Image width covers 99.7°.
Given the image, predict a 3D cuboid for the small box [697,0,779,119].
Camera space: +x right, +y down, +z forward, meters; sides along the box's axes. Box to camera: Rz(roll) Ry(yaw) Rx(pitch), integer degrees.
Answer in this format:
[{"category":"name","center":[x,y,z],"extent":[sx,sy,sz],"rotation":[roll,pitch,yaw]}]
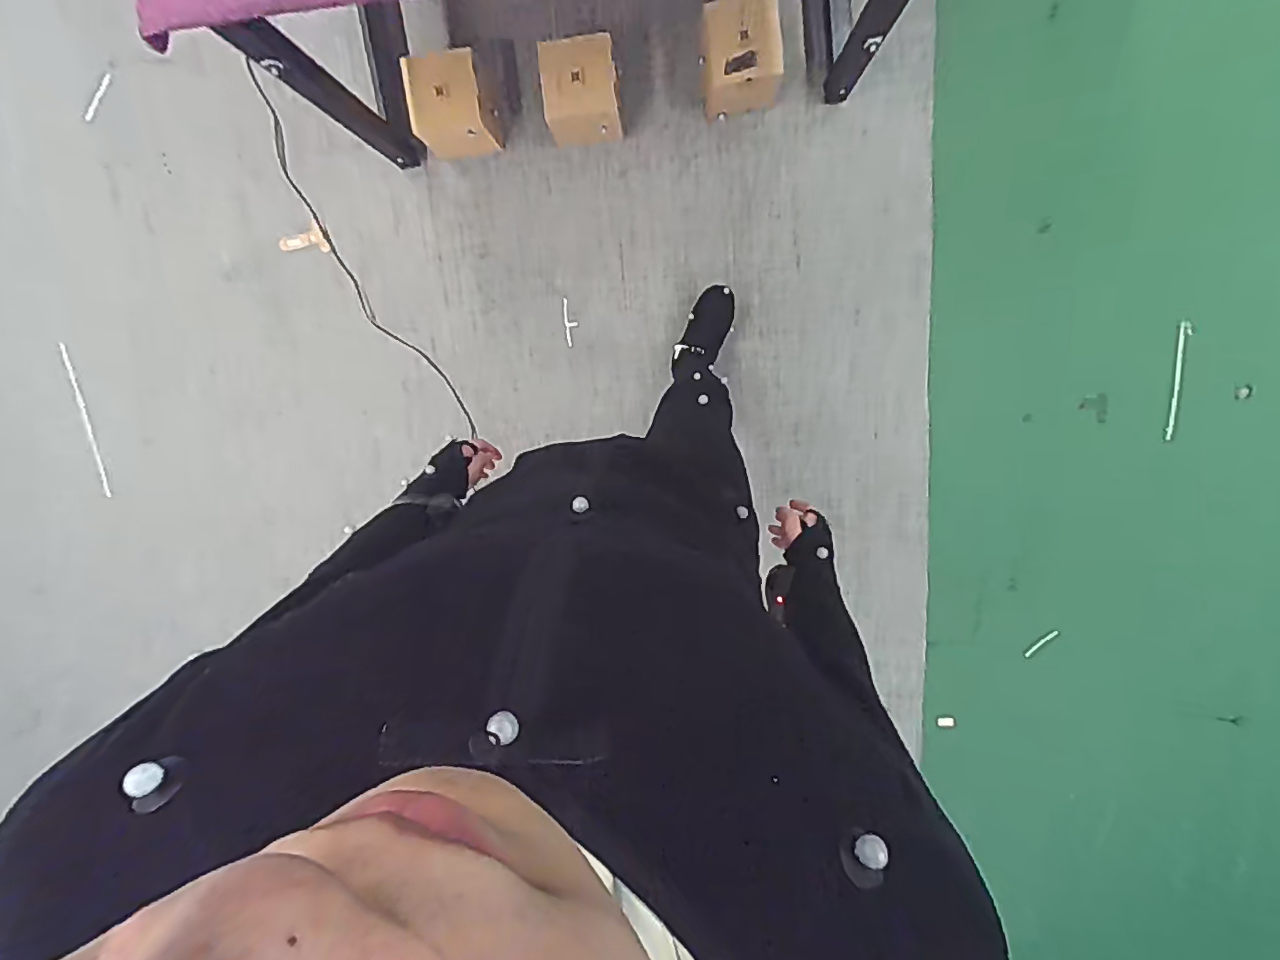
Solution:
[{"category":"small box","center":[0.230,-0.998,1.295],"extent":[0.168,0.176,0.179],"rotation":[-8,100,5]}]

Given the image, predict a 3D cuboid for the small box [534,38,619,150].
[{"category":"small box","center":[-0.148,-0.940,1.331],"extent":[0.179,0.176,0.168],"rotation":[-4,100,5]}]

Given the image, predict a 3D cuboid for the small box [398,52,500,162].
[{"category":"small box","center":[-0.472,-0.923,1.355],"extent":[0.179,0.176,0.168],"rotation":[-6,101,4]}]
